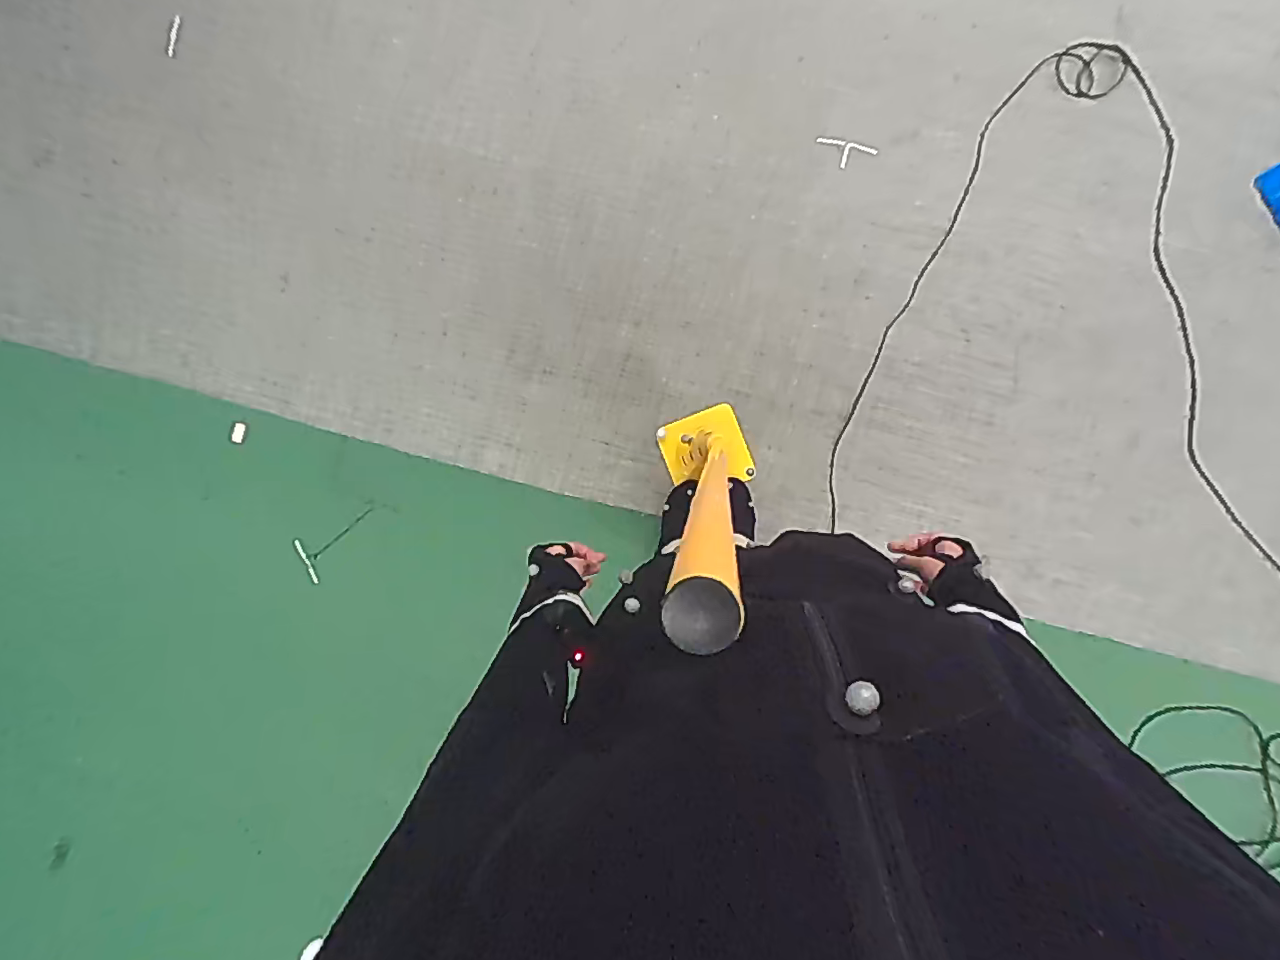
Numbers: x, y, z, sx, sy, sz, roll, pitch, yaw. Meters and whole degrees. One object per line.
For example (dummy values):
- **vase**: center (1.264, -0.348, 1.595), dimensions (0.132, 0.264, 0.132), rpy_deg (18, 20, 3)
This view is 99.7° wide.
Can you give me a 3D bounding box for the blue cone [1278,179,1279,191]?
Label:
- **blue cone**: center (1.562, -0.658, 1.064), dimensions (0.193, 0.380, 0.192), rpy_deg (-30, 88, 1)
